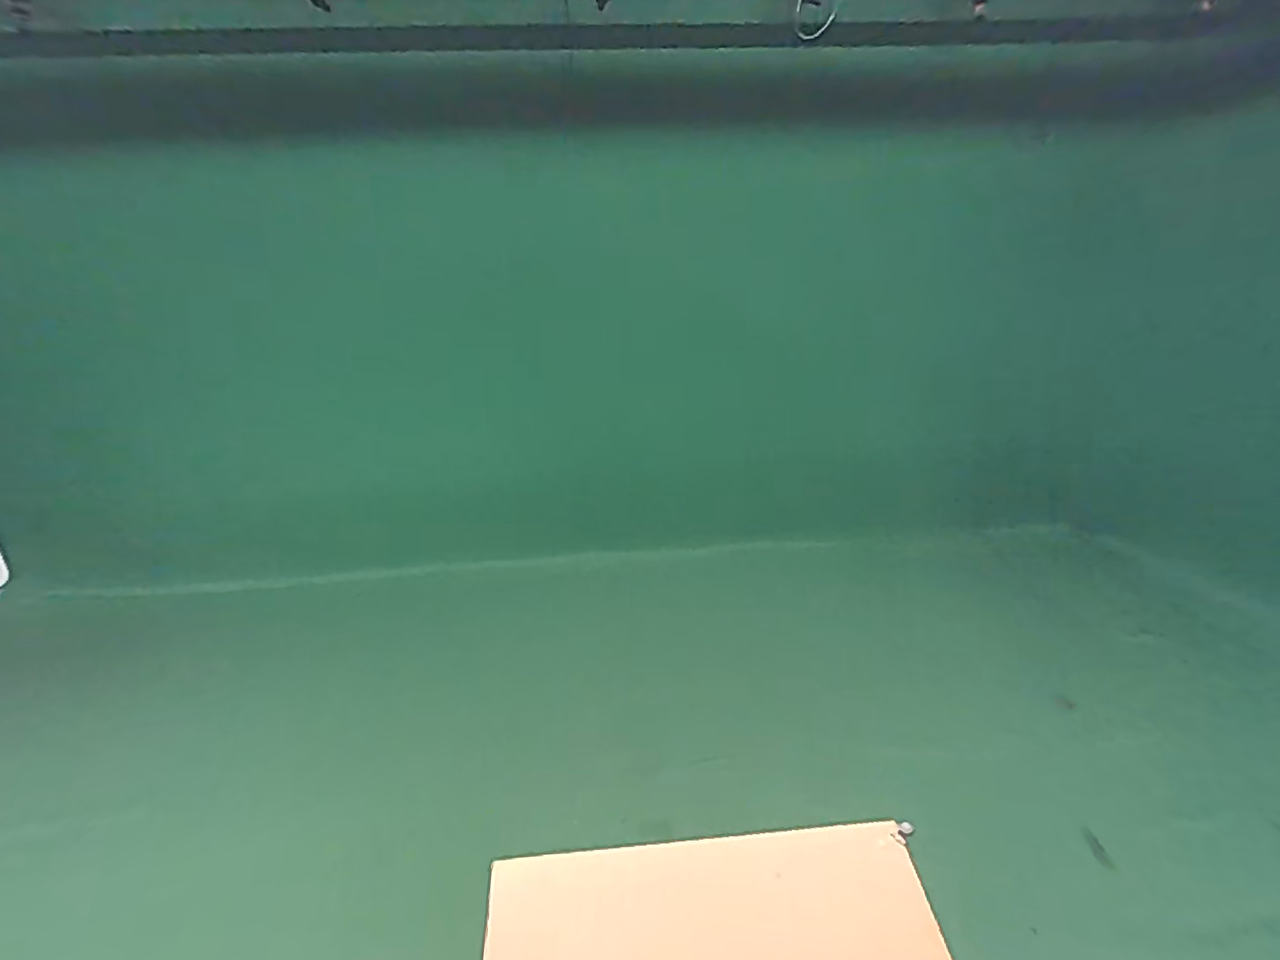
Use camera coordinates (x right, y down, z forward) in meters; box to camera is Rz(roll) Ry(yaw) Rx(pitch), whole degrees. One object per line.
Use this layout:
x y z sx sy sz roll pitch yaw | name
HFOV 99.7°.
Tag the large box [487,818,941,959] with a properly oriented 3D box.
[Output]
0.066 0.574 0.522 0.408 0.320 0.320 -2 41 -6 | large box
